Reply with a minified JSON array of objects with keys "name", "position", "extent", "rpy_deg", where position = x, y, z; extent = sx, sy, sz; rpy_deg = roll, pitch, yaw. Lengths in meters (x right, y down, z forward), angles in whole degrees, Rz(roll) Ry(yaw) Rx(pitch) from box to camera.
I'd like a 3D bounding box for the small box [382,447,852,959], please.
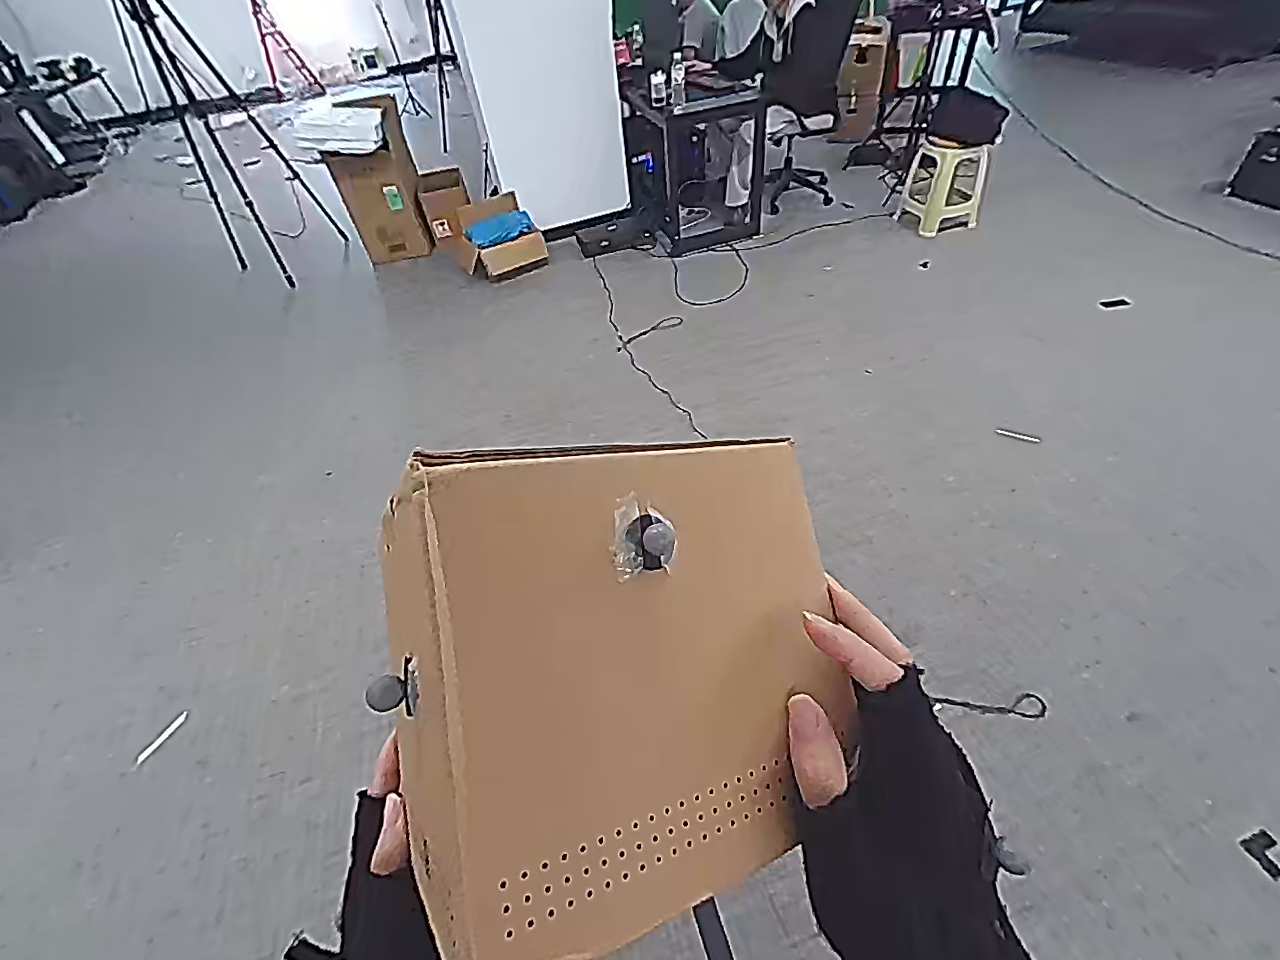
[{"name":"small box","position":[-0.023,0.092,0.274],"extent":[0.179,0.168,0.176],"rpy_deg":[-4,78,-29]}]
